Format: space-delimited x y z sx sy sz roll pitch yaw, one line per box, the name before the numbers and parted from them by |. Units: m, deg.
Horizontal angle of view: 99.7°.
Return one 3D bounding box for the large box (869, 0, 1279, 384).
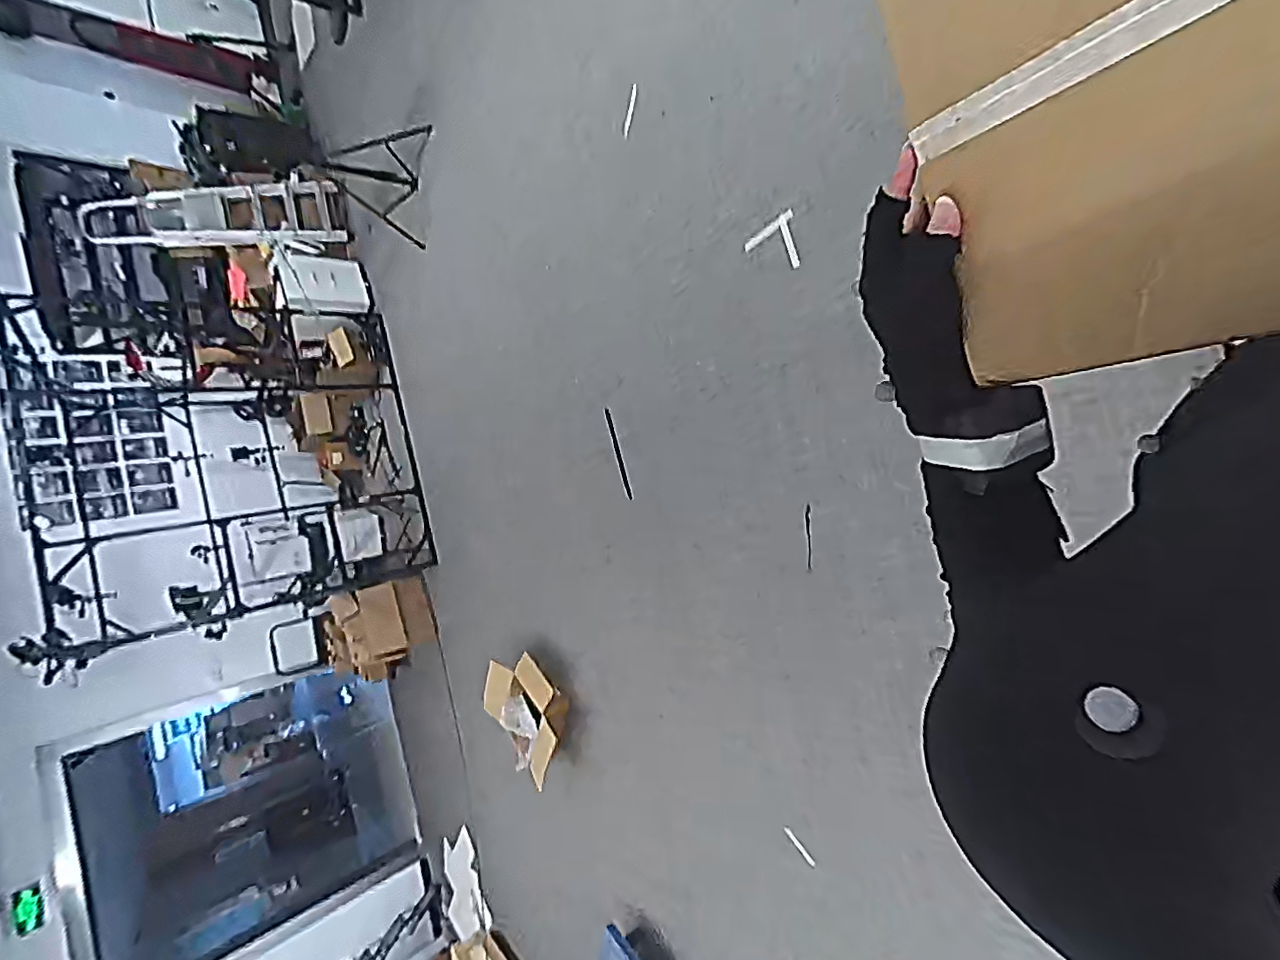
large box | 0.400 -0.281 0.276 0.408 0.320 0.320 -9 104 52
